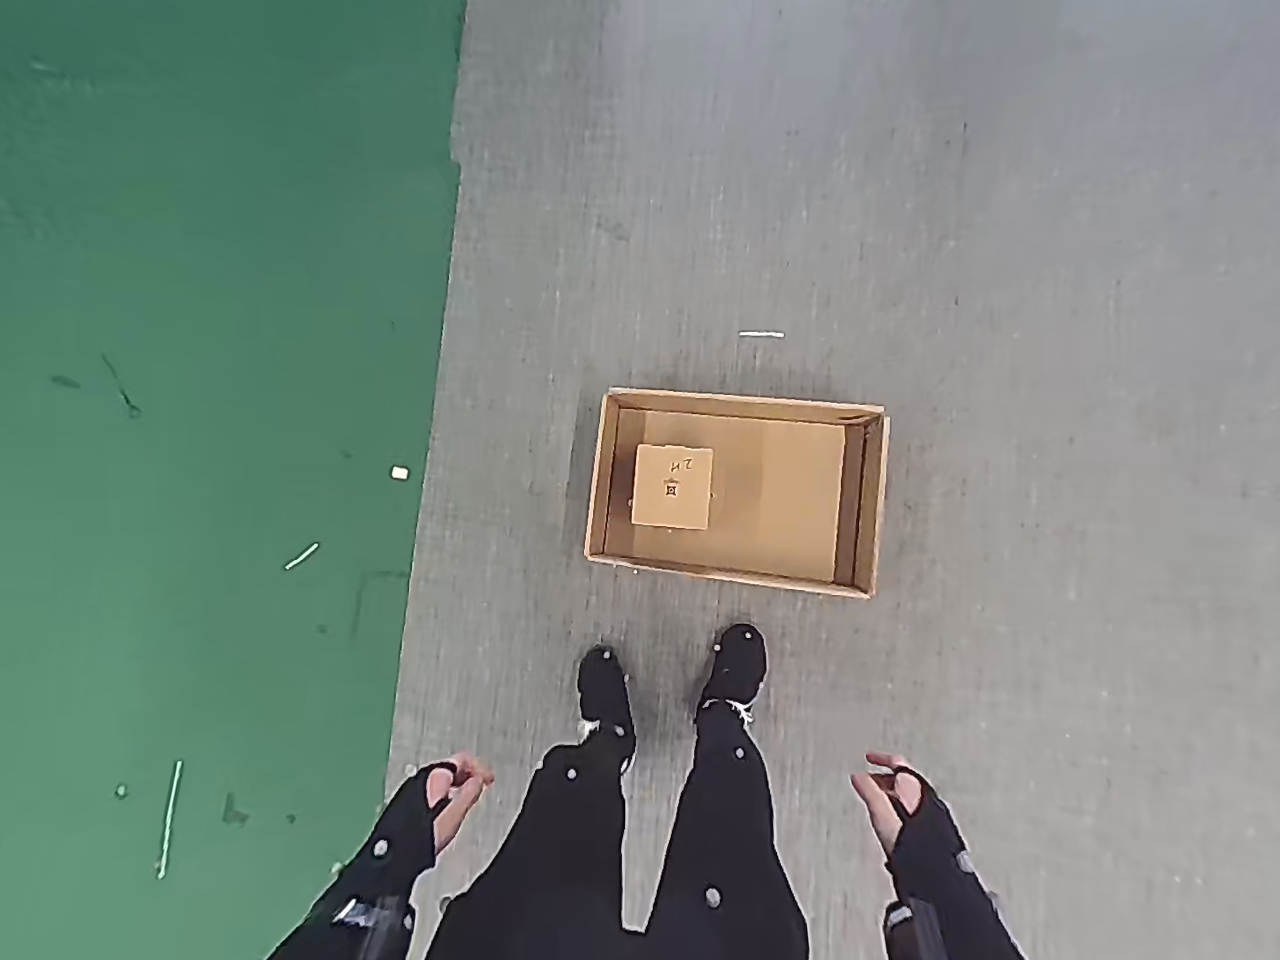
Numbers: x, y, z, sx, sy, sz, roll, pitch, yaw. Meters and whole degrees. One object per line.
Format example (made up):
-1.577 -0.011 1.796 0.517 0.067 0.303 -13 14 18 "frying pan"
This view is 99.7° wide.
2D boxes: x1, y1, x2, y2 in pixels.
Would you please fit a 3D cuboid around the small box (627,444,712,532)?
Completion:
0.073 0.021 1.226 0.168 0.176 0.179 5 86 9 "small box"
